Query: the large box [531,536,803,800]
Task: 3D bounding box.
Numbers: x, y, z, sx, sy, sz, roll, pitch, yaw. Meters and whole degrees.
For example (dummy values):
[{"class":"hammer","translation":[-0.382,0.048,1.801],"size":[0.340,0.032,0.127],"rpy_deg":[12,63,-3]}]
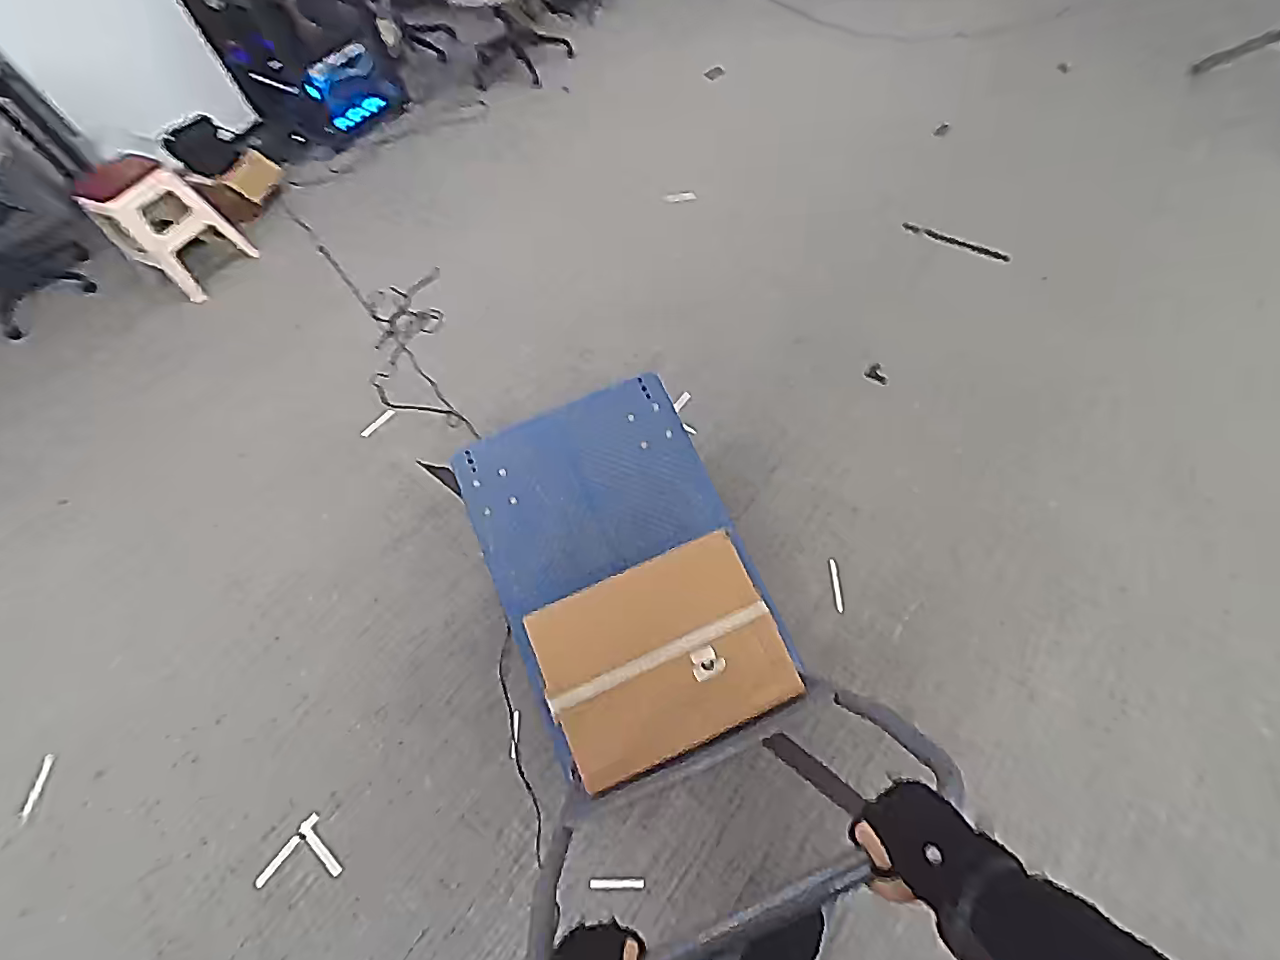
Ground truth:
[{"class":"large box","translation":[0.045,0.362,1.095],"size":[0.408,0.320,0.320],"rpy_deg":[-24,75,-7]}]
